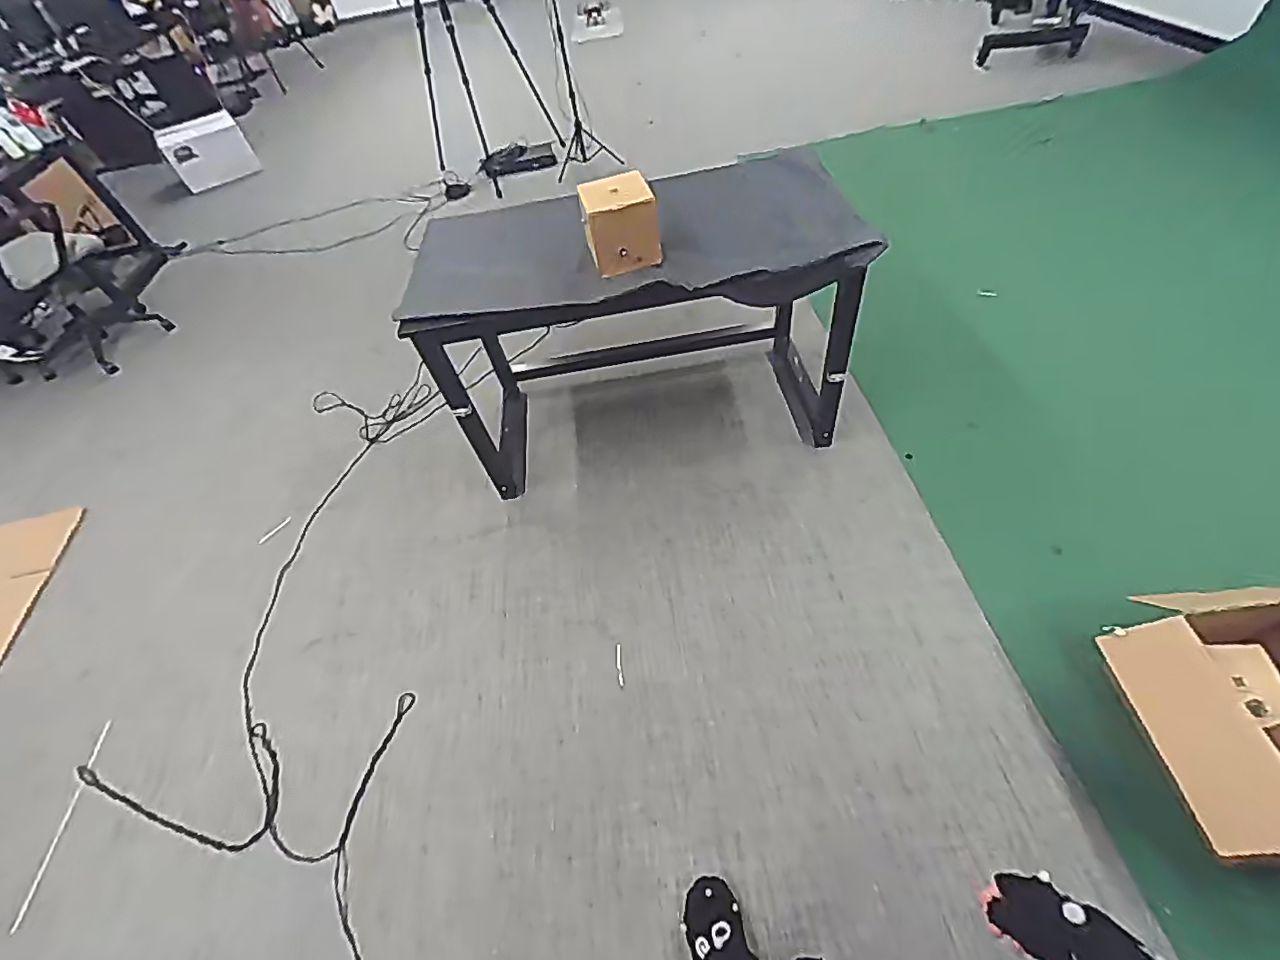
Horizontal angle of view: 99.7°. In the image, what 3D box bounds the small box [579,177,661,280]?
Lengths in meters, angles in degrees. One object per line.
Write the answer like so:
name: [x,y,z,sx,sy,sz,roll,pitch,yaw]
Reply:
small box: [-0.049,-0.641,1.382,0.168,0.176,0.179,-15,51,-3]
